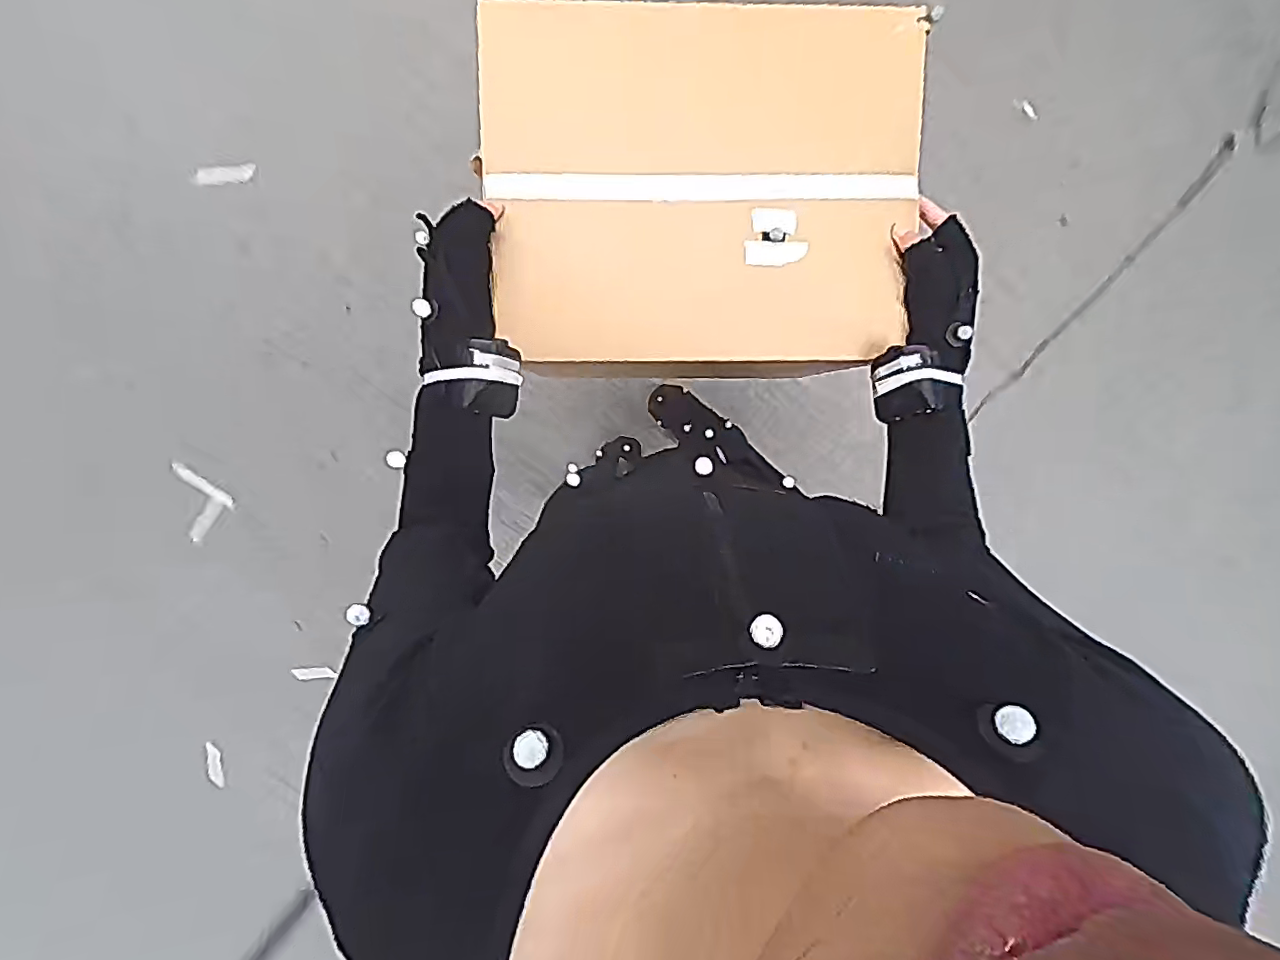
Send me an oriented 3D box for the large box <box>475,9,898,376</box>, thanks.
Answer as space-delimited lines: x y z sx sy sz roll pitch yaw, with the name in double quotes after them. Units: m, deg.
0.044 -0.302 0.670 0.408 0.320 0.320 -3 99 -2 "large box"
